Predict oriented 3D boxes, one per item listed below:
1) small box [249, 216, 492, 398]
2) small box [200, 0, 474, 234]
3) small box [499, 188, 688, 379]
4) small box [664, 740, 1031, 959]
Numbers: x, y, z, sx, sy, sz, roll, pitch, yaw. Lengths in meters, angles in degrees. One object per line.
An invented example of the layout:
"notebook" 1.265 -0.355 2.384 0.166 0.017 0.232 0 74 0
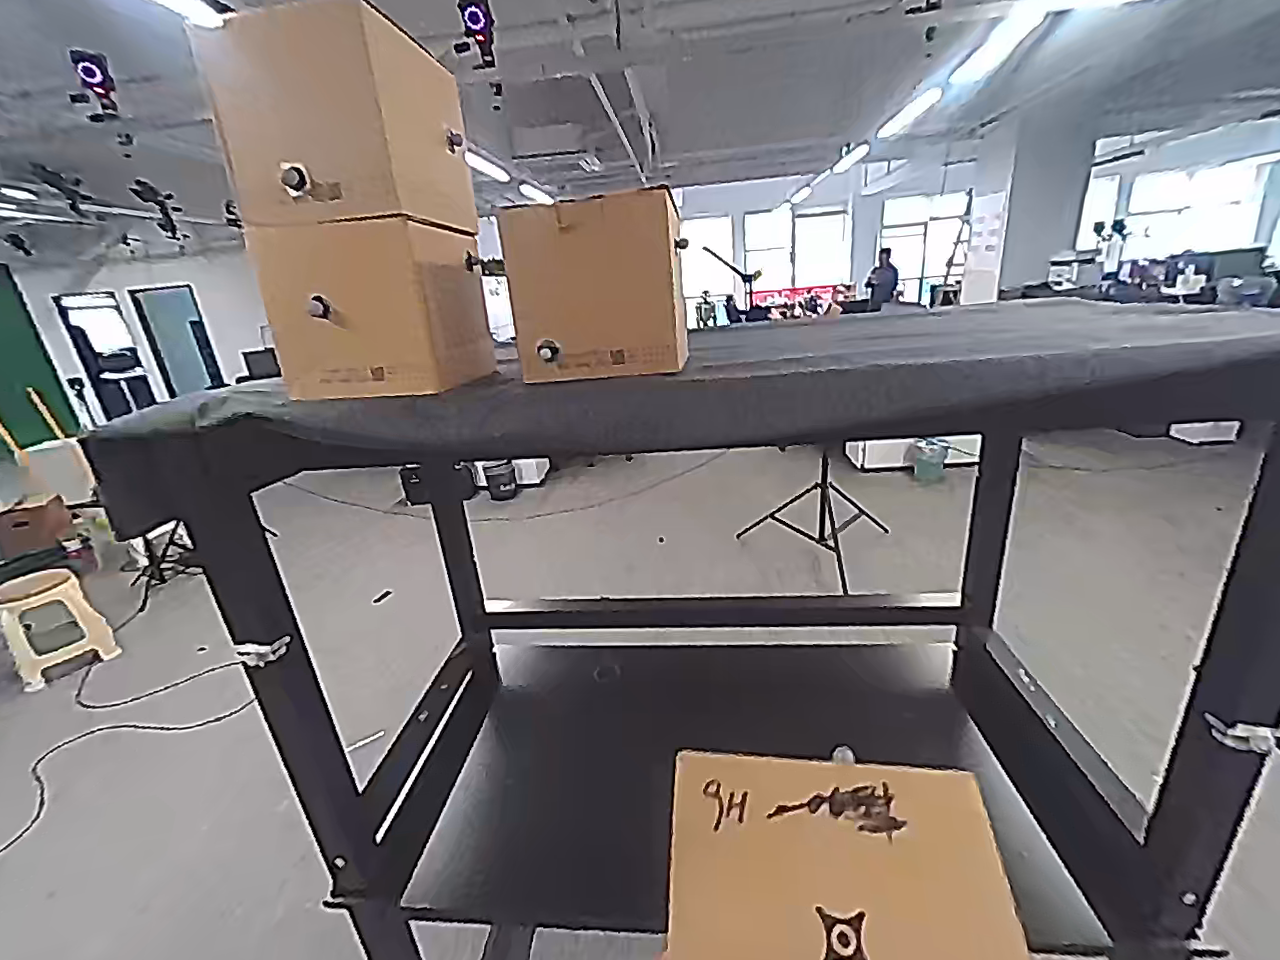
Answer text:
"small box" -0.278 -0.185 0.607 0.168 0.176 0.179 -2 18 6
"small box" -0.285 -0.340 0.556 0.168 0.176 0.179 -3 18 8
"small box" -0.035 -0.206 0.600 0.168 0.176 0.179 -2 17 8
"small box" 0.100 0.270 0.307 0.168 0.176 0.179 2 49 7
